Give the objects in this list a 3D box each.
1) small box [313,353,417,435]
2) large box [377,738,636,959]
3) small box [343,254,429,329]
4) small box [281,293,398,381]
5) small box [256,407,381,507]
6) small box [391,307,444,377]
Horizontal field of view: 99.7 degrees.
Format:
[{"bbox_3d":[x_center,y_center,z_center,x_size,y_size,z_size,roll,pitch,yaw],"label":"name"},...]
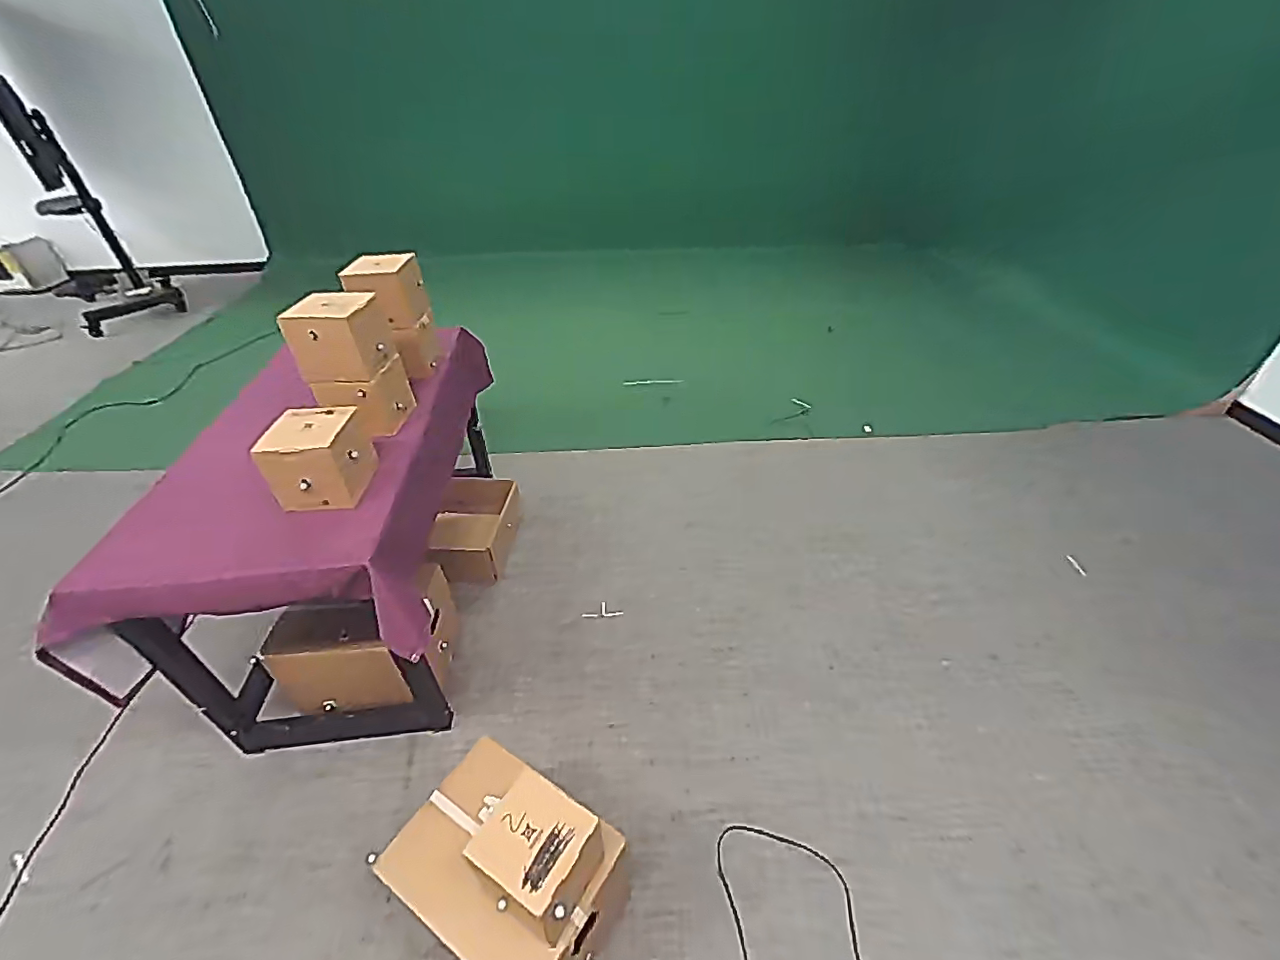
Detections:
[{"bbox_3d":[-0.742,-0.235,1.480,0.179,0.176,0.168,1,39,2],"label":"small box"},{"bbox_3d":[-0.260,0.851,1.159,0.408,0.320,0.320,20,43,26],"label":"large box"},{"bbox_3d":[-0.753,-0.567,1.629,0.168,0.176,0.179,-3,39,1],"label":"small box"},{"bbox_3d":[-0.754,-0.363,1.377,0.179,0.176,0.168,1,40,4],"label":"small box"},{"bbox_3d":[-0.725,-0.050,1.246,0.168,0.176,0.179,-2,40,-1],"label":"small box"},{"bbox_3d":[-0.745,-0.438,1.728,0.179,0.176,0.168,-3,39,0],"label":"small box"}]
